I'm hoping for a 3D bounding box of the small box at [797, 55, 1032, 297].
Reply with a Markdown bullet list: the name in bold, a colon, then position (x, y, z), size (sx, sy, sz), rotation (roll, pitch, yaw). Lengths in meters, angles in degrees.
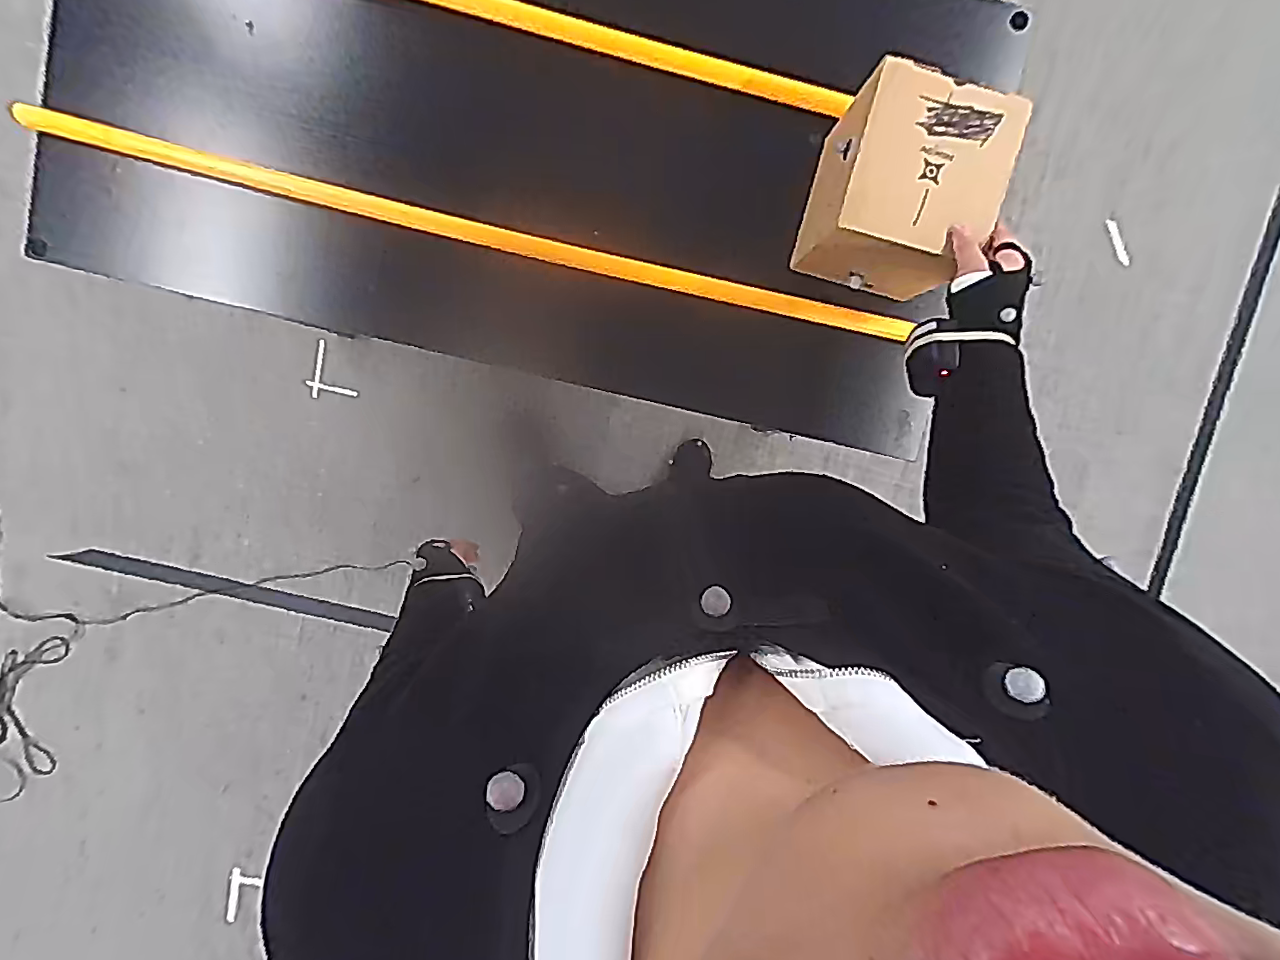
- **small box**: position (0.307, -0.342, 0.645), size (0.168, 0.176, 0.179), rotation (15, 96, -3)
